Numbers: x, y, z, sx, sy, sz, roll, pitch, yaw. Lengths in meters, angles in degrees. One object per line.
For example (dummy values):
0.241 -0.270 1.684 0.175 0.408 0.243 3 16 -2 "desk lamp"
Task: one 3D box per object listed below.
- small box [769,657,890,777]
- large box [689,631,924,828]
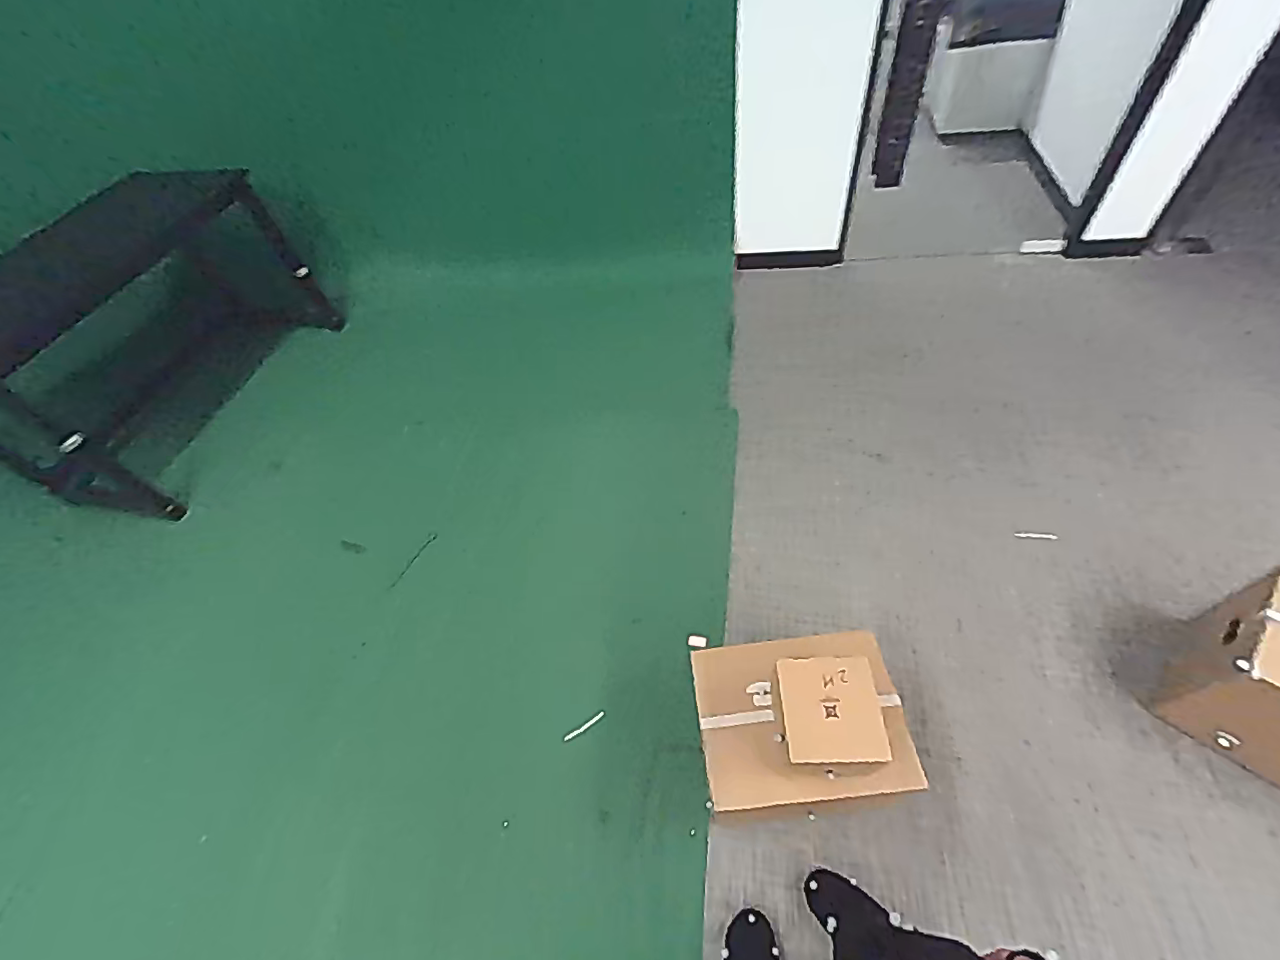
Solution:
0.336 0.439 0.994 0.168 0.176 0.179 -3 53 5 "small box"
0.337 0.567 1.210 0.408 0.320 0.320 -9 51 3 "large box"
